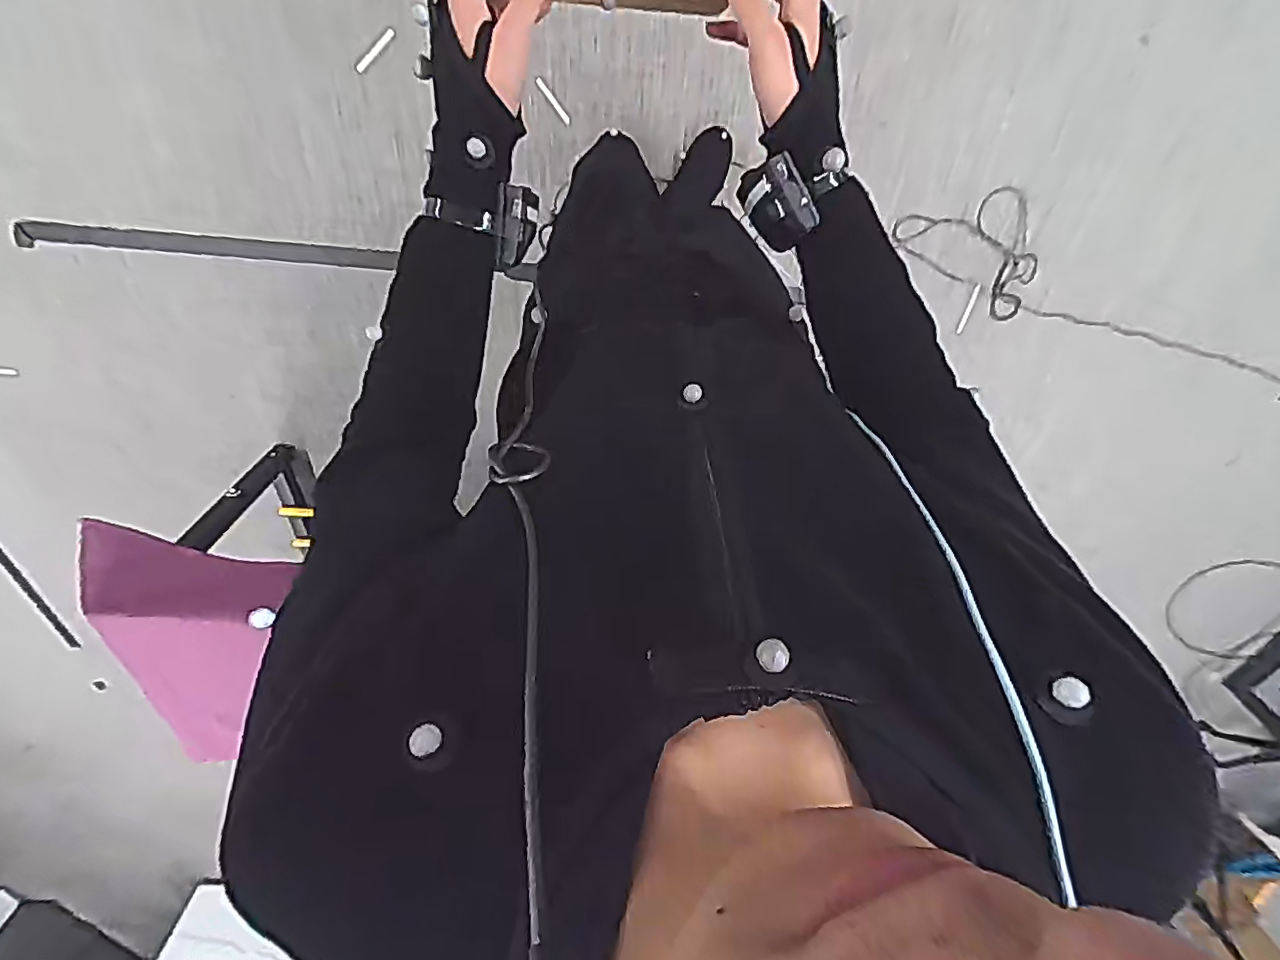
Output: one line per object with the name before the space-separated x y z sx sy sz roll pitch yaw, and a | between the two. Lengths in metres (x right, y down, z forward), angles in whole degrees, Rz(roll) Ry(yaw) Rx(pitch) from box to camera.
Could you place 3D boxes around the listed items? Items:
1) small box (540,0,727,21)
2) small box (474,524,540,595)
small box | -0.006 -0.451 0.388 0.179 0.176 0.168 3 126 -3
small box | -0.436 0.261 1.797 0.179 0.176 0.168 2 125 -1
